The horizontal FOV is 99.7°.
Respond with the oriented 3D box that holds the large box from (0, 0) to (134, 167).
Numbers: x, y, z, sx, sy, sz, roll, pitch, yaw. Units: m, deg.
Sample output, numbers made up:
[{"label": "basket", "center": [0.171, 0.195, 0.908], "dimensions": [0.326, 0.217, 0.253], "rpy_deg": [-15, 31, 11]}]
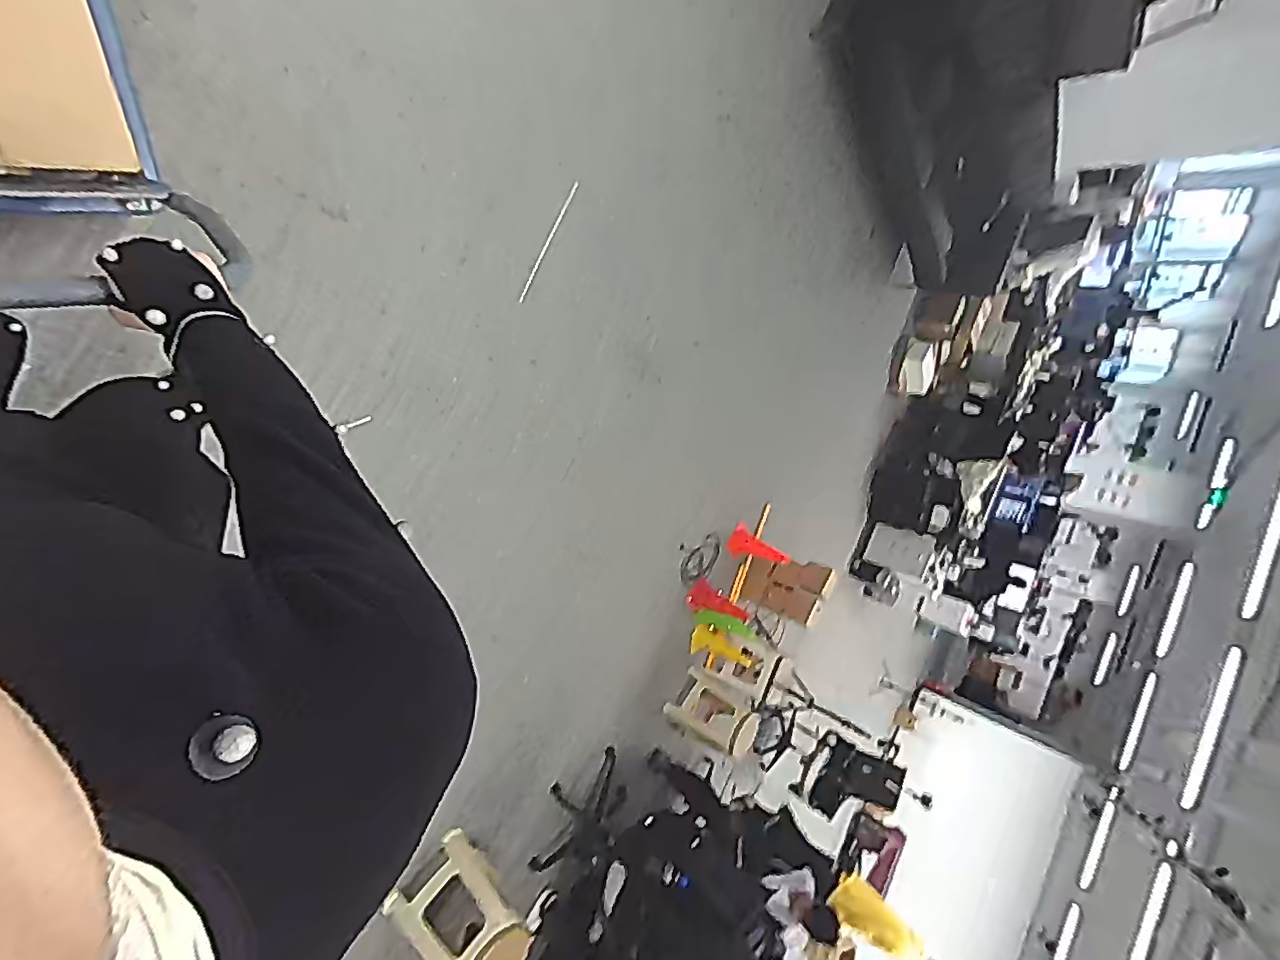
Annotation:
[{"label": "large box", "center": [-0.962, -0.645, 0.708], "dimensions": [0.320, 0.320, 0.408], "rpy_deg": [-25, 129, -41]}]
